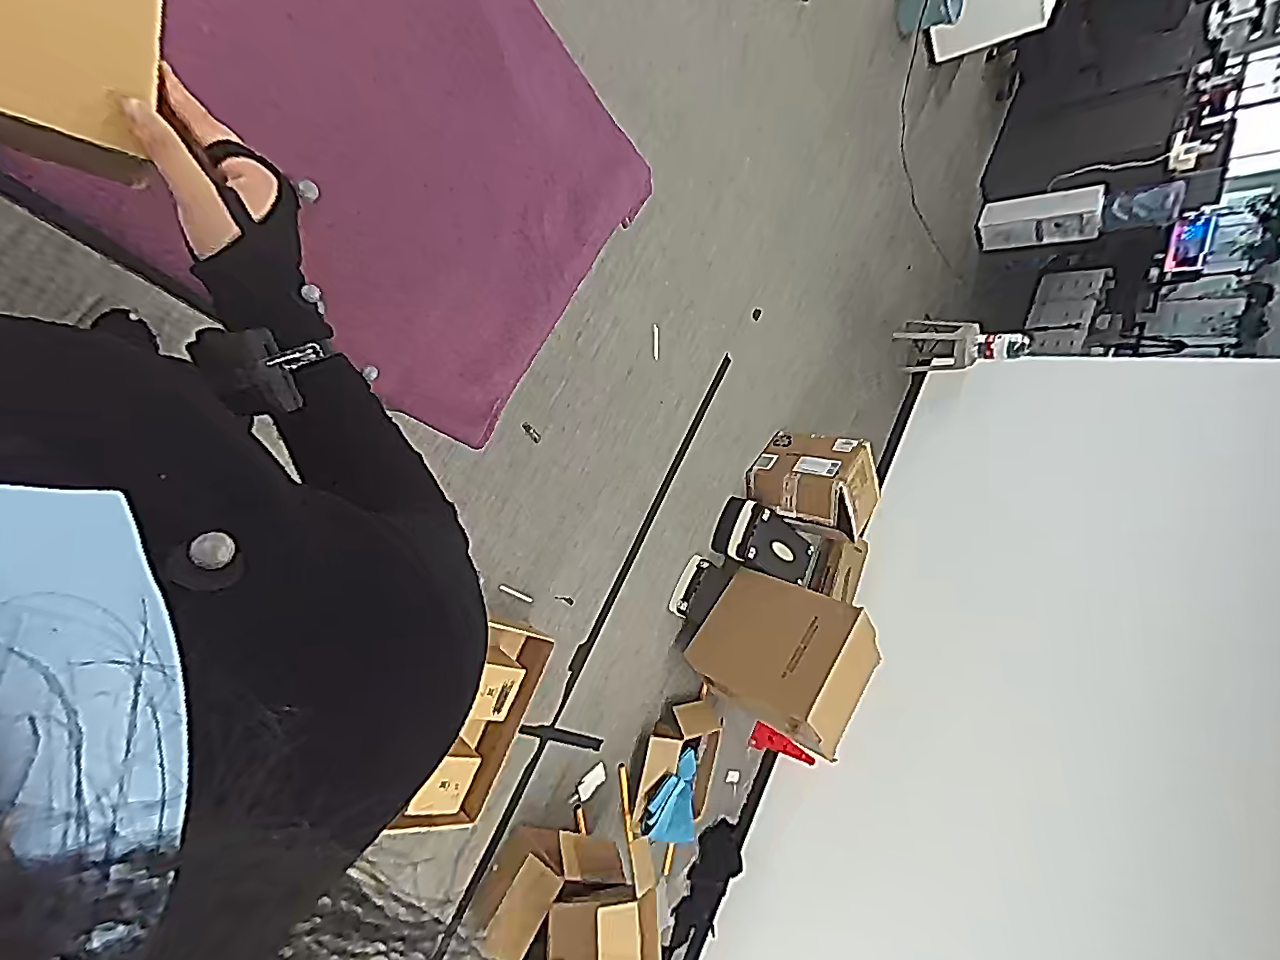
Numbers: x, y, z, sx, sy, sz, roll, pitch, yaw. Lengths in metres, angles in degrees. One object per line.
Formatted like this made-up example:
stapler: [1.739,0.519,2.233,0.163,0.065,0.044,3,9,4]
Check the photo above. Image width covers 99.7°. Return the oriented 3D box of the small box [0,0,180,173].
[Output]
small box: [-0.402,-0.309,0.329,0.179,0.176,0.168,3,104,-44]

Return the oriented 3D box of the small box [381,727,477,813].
small box: [-0.627,0.853,1.595,0.179,0.176,0.168,36,75,-45]
